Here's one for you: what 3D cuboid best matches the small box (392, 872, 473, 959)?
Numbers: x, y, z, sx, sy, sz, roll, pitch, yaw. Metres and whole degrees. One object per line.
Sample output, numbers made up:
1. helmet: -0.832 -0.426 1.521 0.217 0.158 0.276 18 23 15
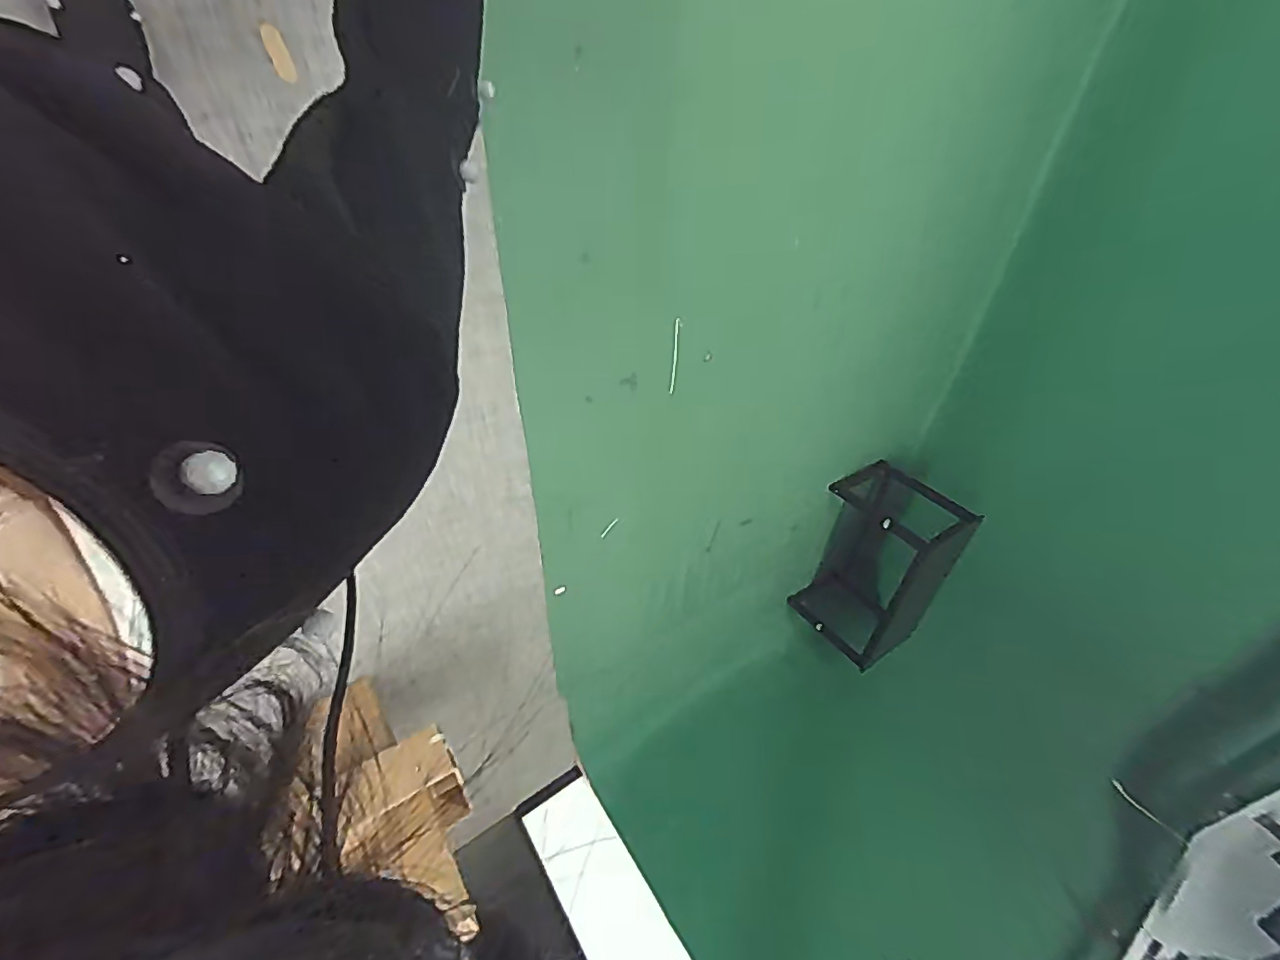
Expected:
1. small box: -0.621 1.328 1.624 0.168 0.176 0.179 -24 136 -27
